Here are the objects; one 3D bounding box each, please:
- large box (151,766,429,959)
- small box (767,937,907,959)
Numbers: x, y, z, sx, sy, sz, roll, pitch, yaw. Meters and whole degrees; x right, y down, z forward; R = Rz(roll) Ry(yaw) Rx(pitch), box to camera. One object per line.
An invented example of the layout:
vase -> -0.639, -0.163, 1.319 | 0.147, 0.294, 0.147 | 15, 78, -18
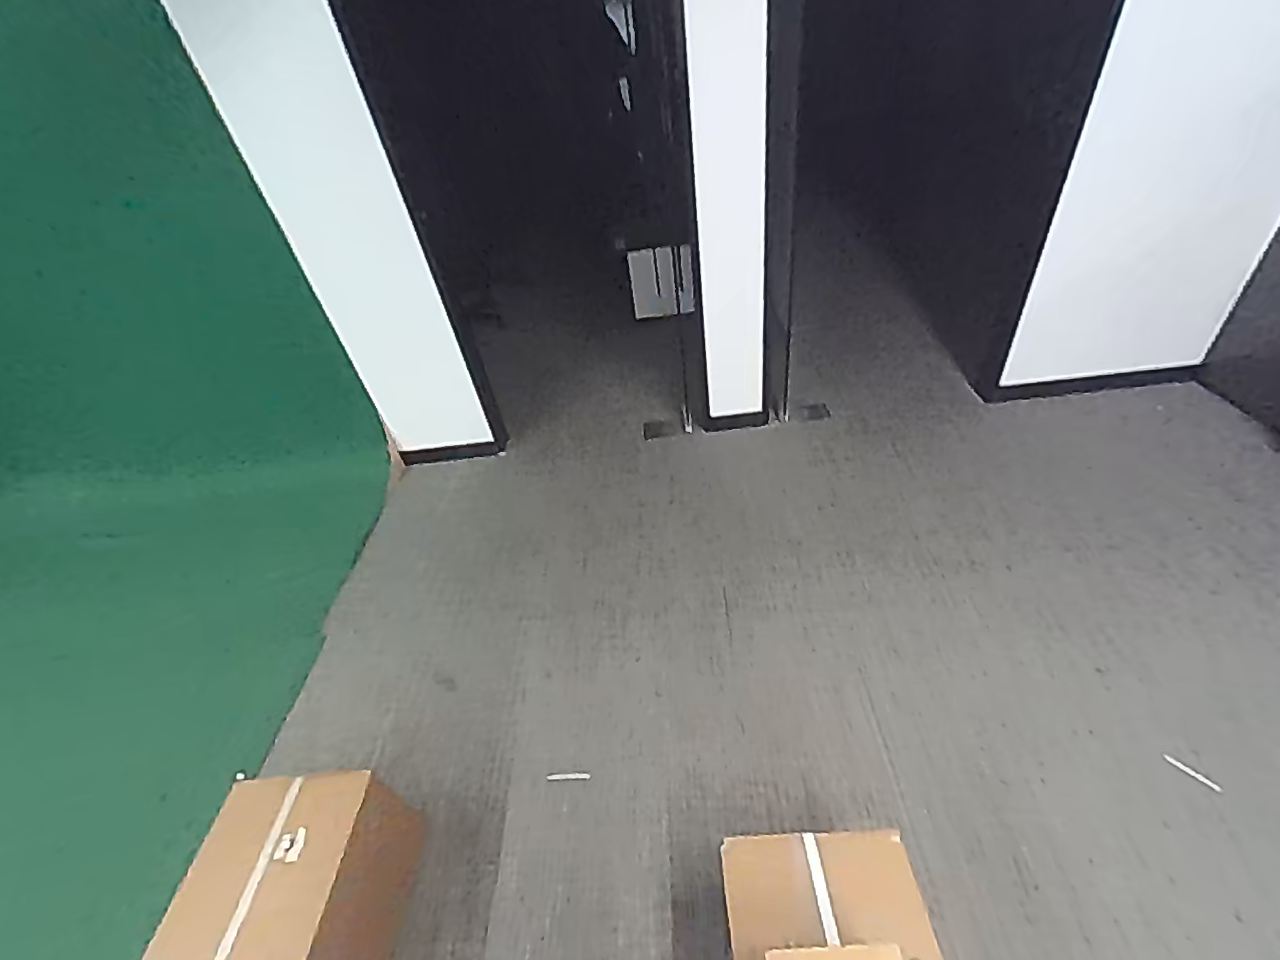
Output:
large box -> -0.683, 0.867, 1.100 | 0.320, 0.320, 0.408 | -7, 39, 5
small box -> 0.267, 0.716, 0.700 | 0.179, 0.176, 0.168 | -9, 40, 6
